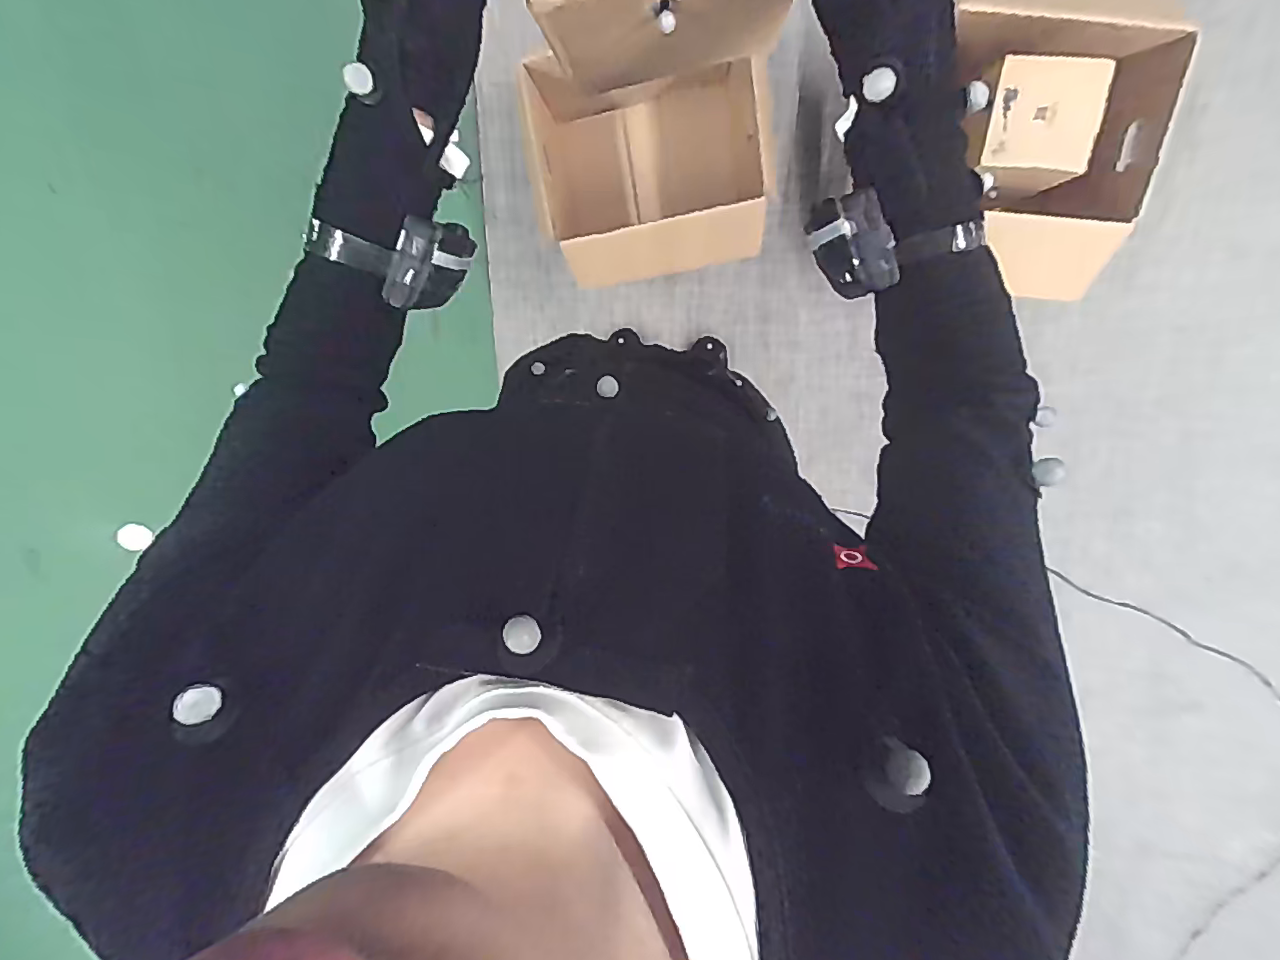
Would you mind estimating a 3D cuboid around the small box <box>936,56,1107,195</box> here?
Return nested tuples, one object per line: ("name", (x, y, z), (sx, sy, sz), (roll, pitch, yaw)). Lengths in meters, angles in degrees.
("small box", (0.682, -0.635, 0.989), (0.179, 0.176, 0.168), (6, 104, 3))
